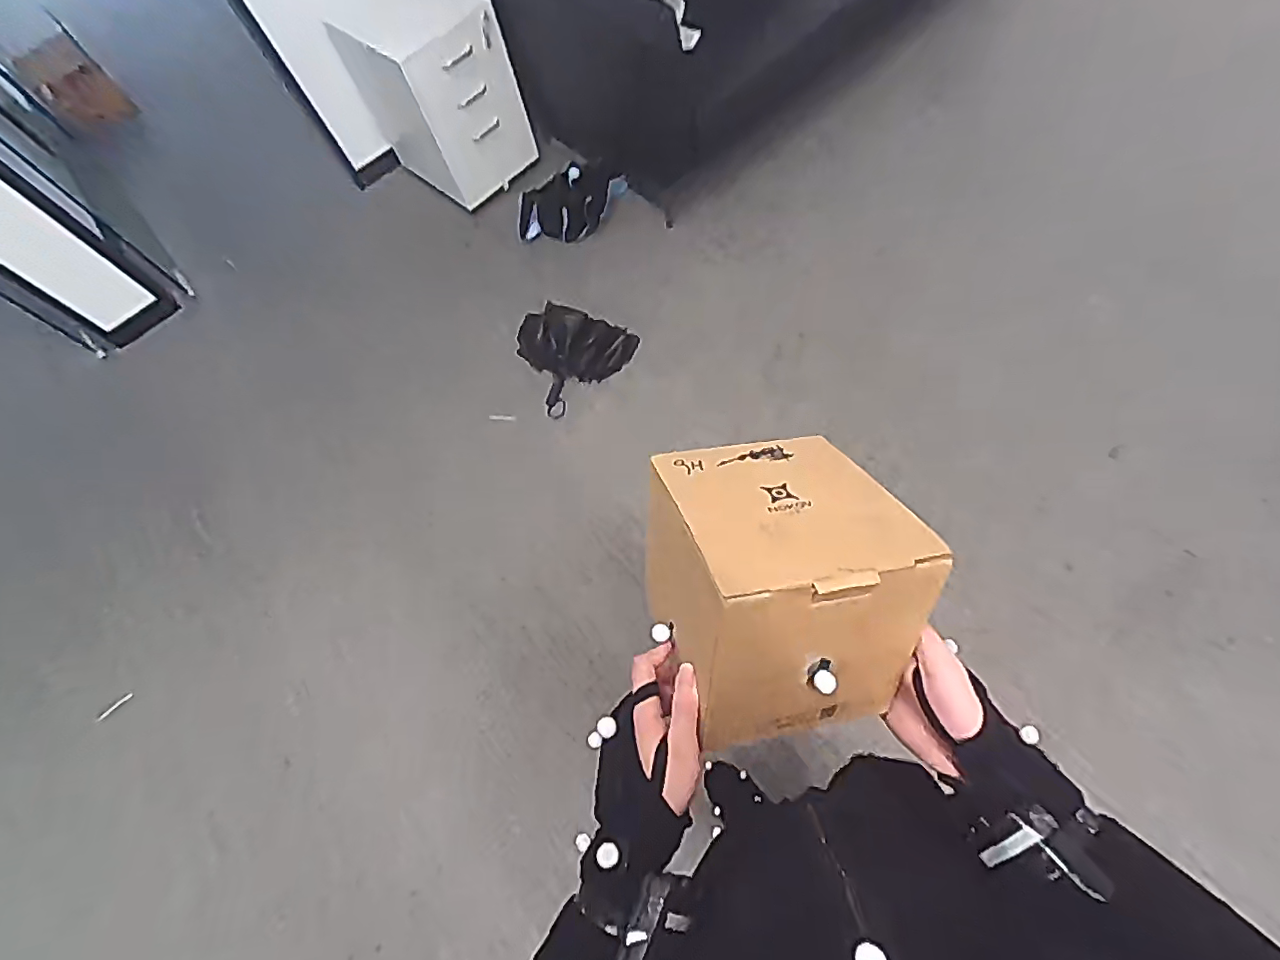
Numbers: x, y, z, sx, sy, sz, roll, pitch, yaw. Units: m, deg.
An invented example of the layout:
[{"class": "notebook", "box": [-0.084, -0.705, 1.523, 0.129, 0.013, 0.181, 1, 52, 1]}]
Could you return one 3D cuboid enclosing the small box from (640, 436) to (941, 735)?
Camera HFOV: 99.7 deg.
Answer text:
[{"class": "small box", "box": [0.098, 0.085, 0.446, 0.168, 0.176, 0.179, -6, 35, -12]}]
